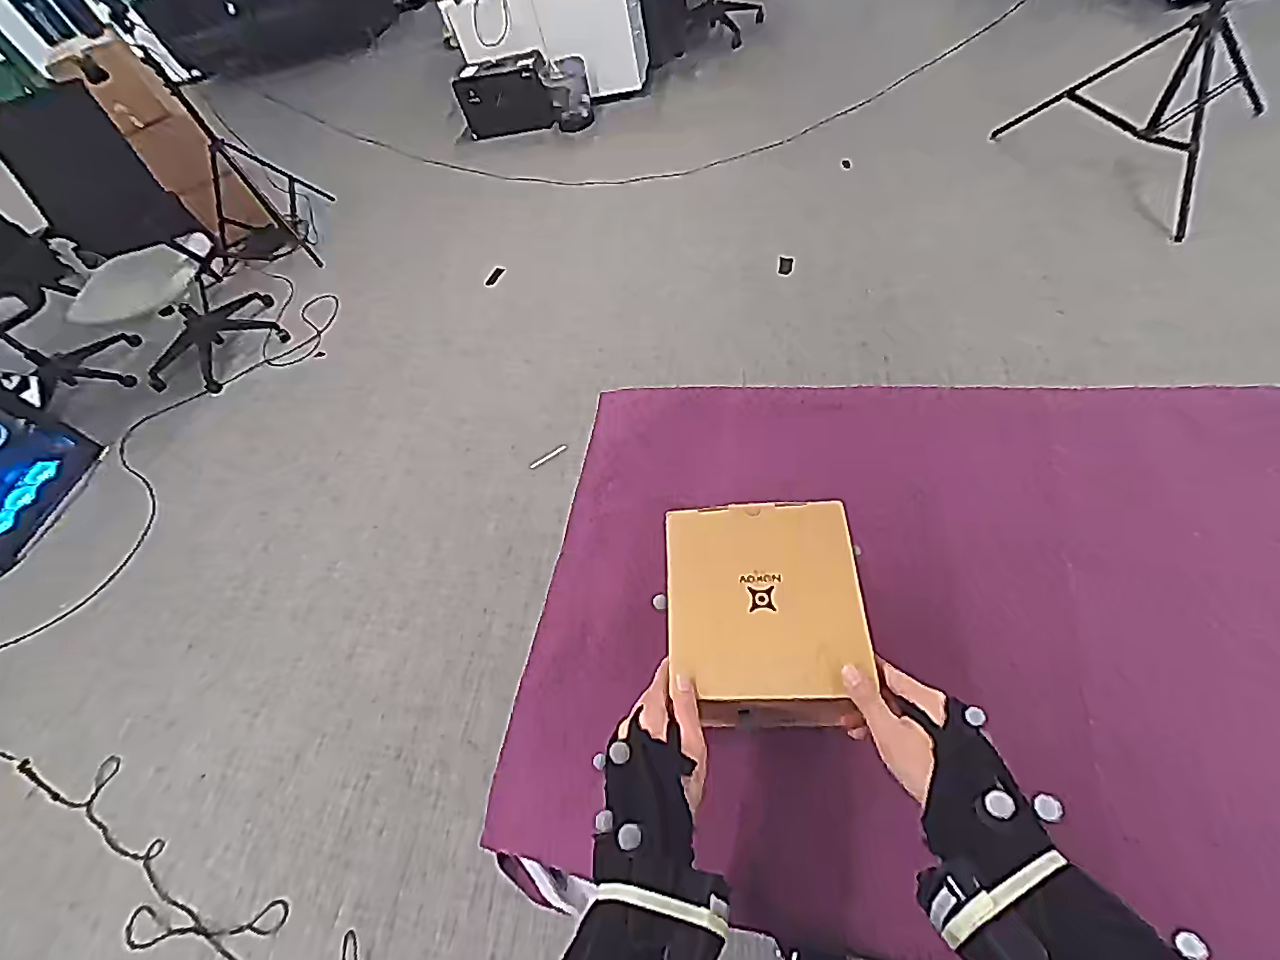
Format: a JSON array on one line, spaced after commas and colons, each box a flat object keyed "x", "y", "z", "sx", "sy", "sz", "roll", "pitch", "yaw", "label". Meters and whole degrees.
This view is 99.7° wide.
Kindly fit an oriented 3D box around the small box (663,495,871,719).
[{"x": 0.116, "y": 0.136, "z": 0.538, "sx": 0.168, "sy": 0.176, "sz": 0.179, "roll": -5, "pitch": 57, "yaw": 9, "label": "small box"}]
